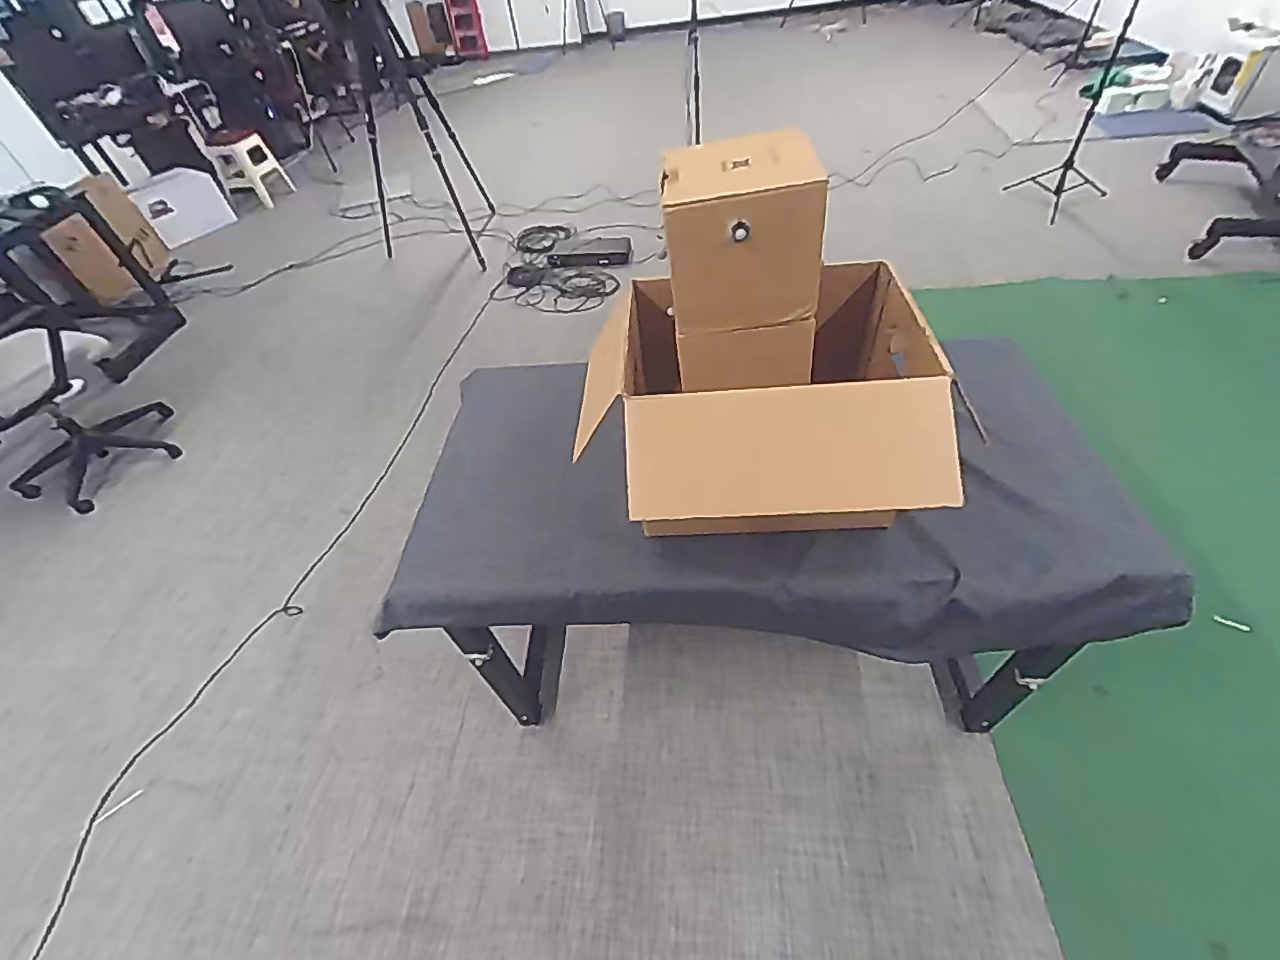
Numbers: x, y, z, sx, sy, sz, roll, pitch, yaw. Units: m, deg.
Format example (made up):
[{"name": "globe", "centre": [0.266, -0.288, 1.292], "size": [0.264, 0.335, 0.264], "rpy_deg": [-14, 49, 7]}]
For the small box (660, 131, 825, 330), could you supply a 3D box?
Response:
[{"name": "small box", "centre": [0.123, -0.306, 0.681], "size": [0.179, 0.176, 0.168], "rpy_deg": [-5, 50, 7]}]
